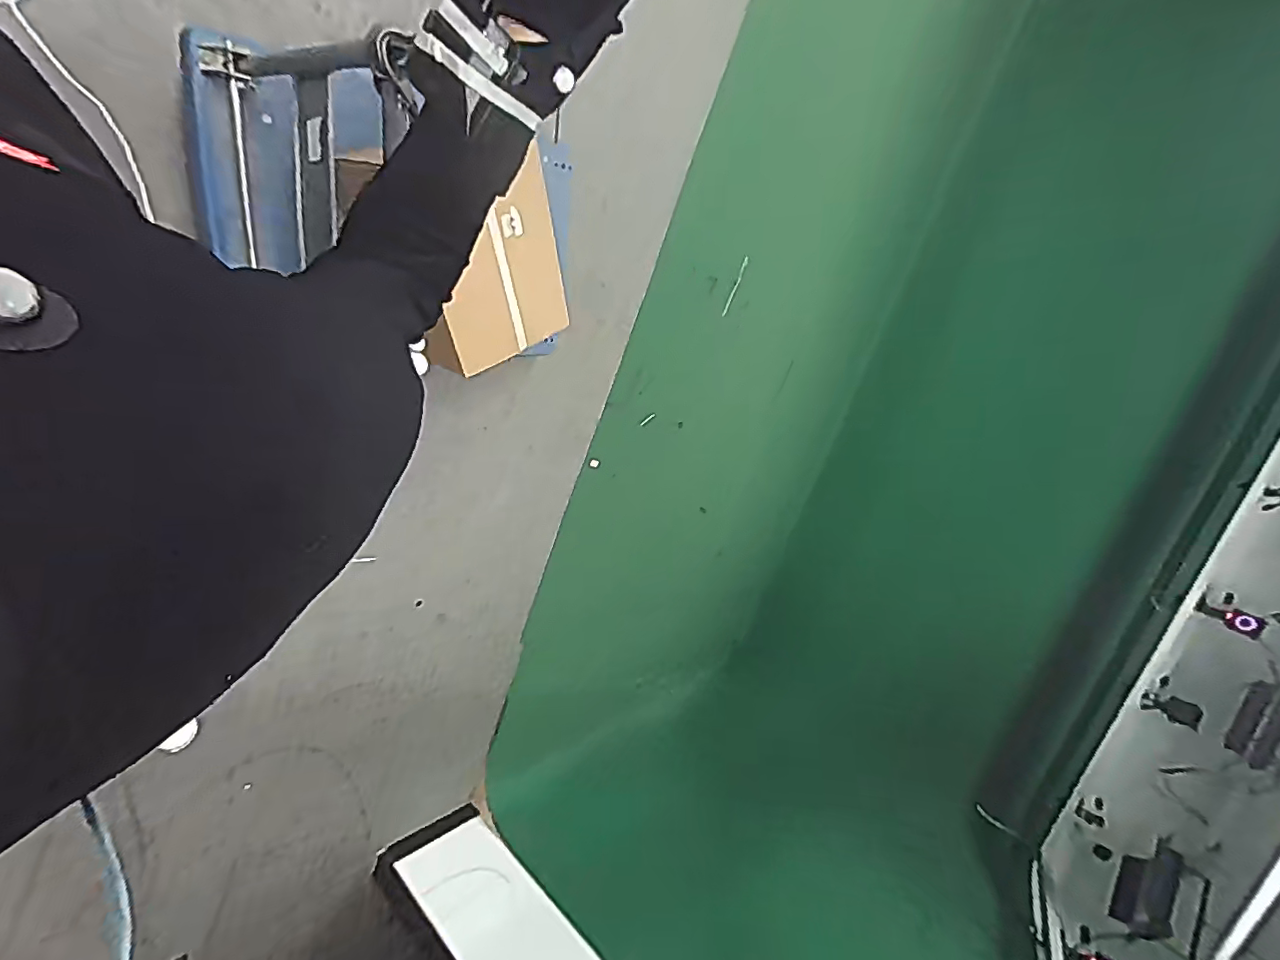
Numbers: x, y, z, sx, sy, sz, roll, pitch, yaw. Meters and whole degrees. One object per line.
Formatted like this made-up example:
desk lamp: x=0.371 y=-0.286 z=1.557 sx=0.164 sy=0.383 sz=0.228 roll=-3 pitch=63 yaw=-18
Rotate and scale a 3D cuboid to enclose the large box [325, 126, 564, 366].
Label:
large box: x=-0.415 y=-0.530 z=1.211 sx=0.320 sy=0.320 sz=0.408 roll=-38 pitch=139 yaw=-33
